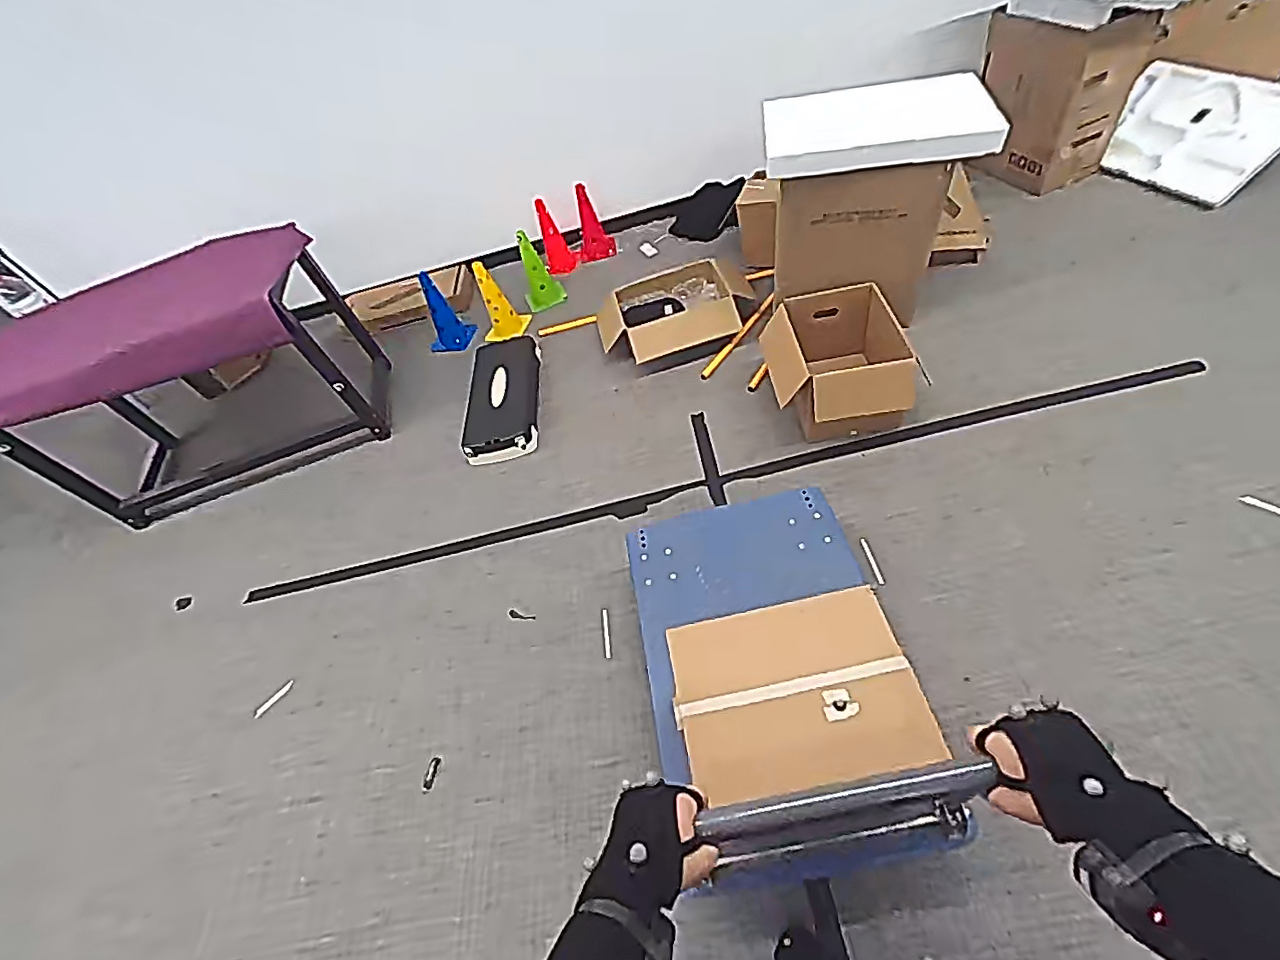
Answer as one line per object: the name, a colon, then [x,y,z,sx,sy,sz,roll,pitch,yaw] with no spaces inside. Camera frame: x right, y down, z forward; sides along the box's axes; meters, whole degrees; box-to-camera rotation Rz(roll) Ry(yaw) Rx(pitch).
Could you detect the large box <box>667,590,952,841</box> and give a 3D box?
large box: [0.291,0.460,1.040,0.408,0.320,0.320,-13,50,3]
